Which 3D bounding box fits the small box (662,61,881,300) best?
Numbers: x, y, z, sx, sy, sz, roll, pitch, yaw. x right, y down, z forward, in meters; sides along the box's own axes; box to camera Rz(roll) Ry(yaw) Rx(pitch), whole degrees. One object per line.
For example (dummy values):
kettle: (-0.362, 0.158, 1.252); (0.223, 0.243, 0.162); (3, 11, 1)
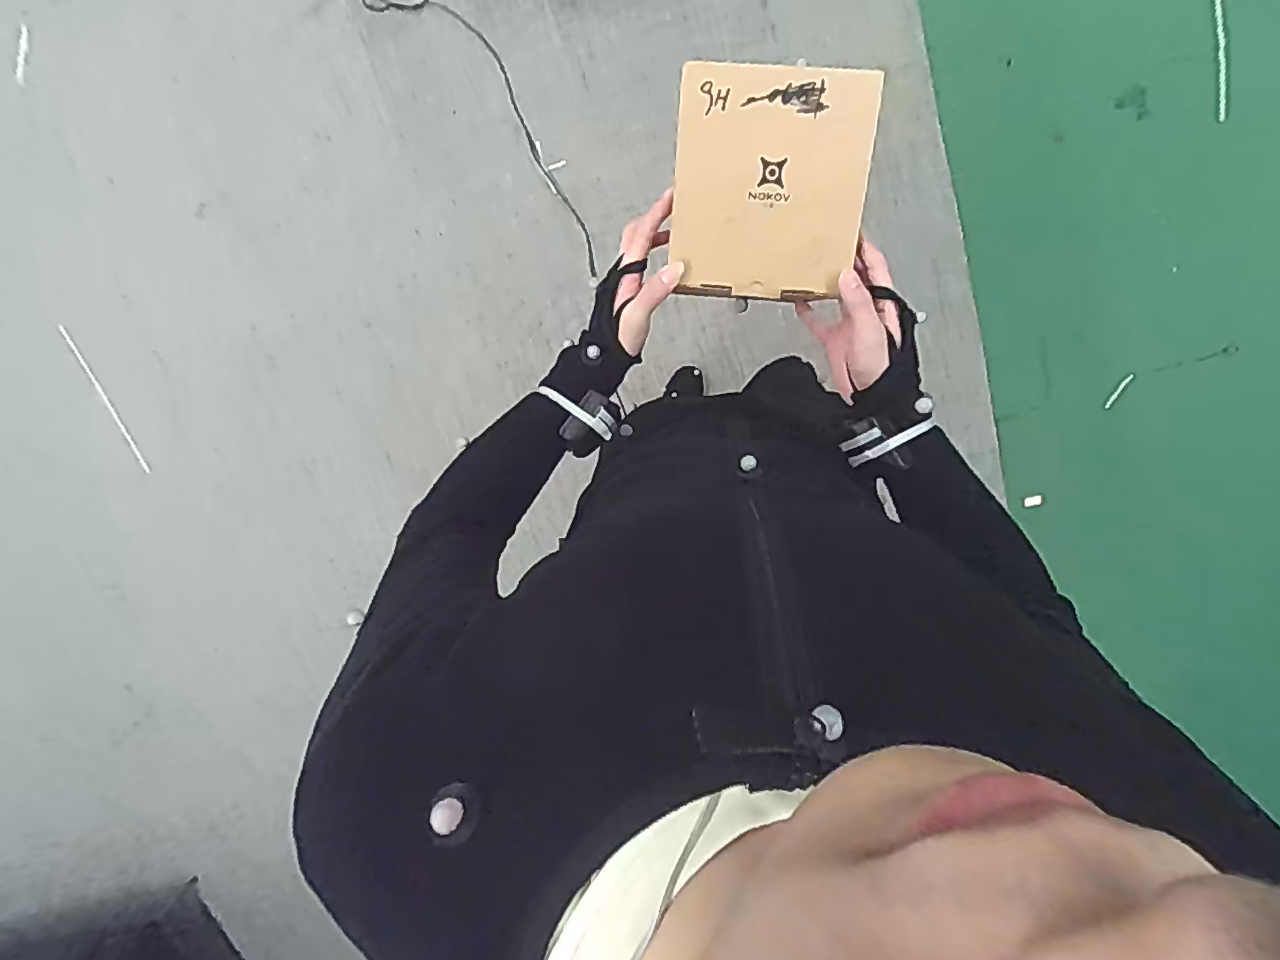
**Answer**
small box: (0.113, -0.277, 0.540); (0.168, 0.176, 0.179); (5, 108, 2)
